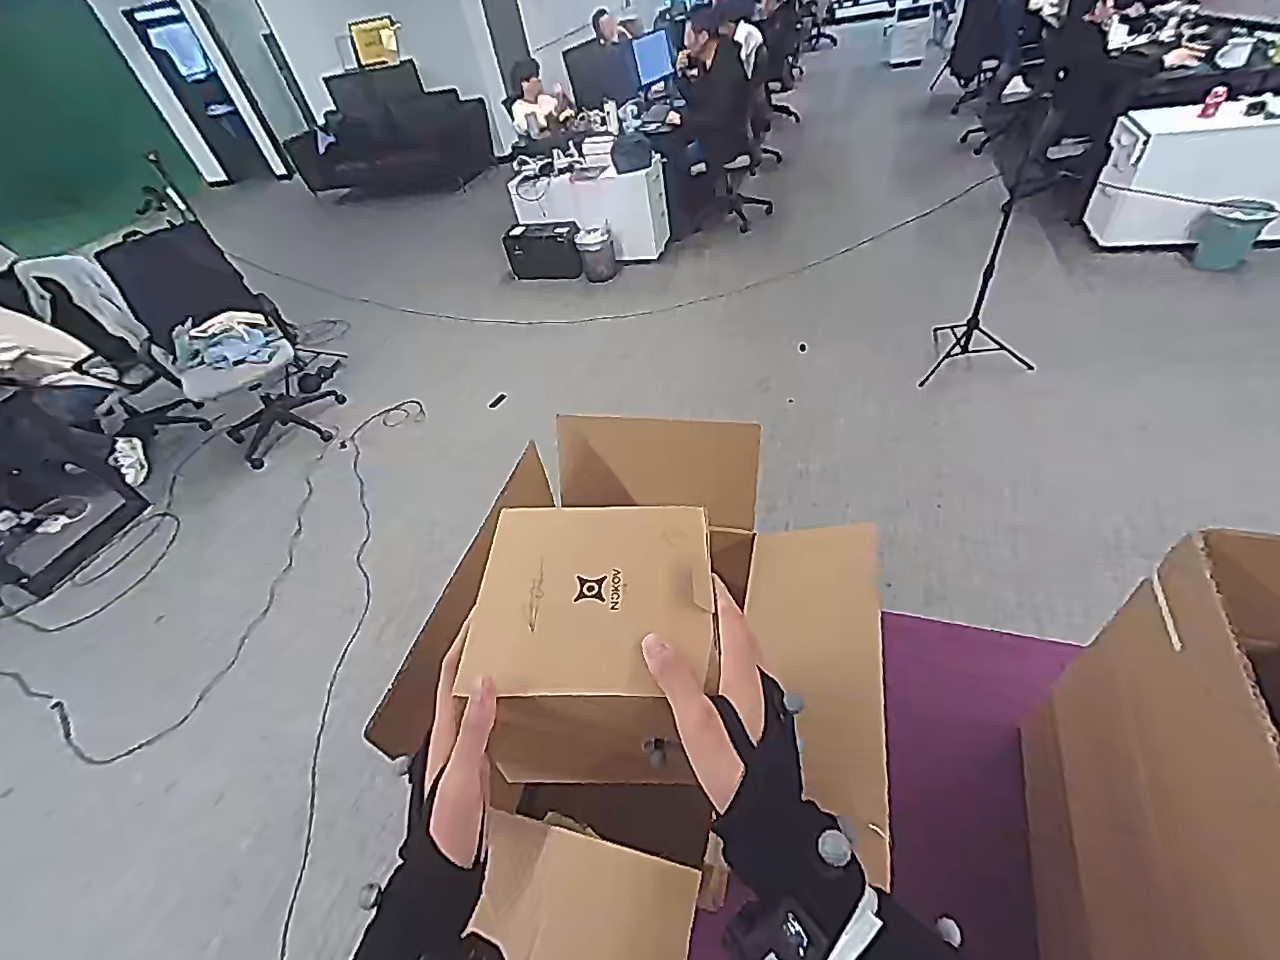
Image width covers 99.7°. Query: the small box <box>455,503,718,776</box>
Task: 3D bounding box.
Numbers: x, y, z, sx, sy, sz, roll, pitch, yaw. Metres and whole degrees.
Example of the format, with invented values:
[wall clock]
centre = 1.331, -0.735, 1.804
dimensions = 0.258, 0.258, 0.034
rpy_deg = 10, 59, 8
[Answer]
[small box]
centre = -0.030, 0.137, 0.464
dimensions = 0.179, 0.176, 0.168
rpy_deg = -1, 43, 4
